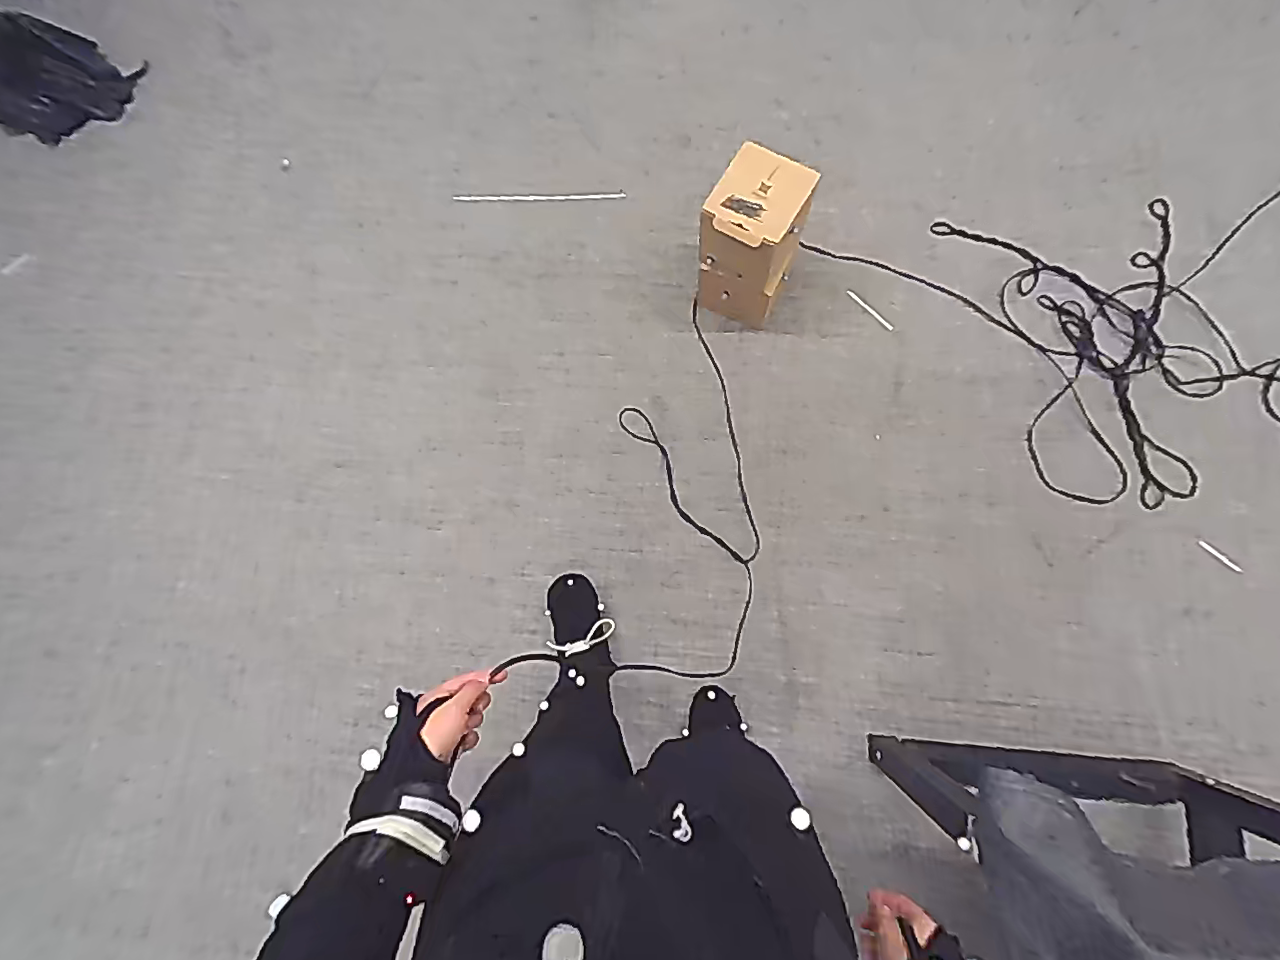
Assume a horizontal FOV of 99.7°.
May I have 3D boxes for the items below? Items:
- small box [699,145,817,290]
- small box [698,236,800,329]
[{"bbox_3d":[0.233,-0.526,1.107,0.168,0.176,0.179,31,82,9],"label":"small box"},{"bbox_3d":[0.245,-0.483,1.266,0.179,0.176,0.168,25,82,9],"label":"small box"}]
